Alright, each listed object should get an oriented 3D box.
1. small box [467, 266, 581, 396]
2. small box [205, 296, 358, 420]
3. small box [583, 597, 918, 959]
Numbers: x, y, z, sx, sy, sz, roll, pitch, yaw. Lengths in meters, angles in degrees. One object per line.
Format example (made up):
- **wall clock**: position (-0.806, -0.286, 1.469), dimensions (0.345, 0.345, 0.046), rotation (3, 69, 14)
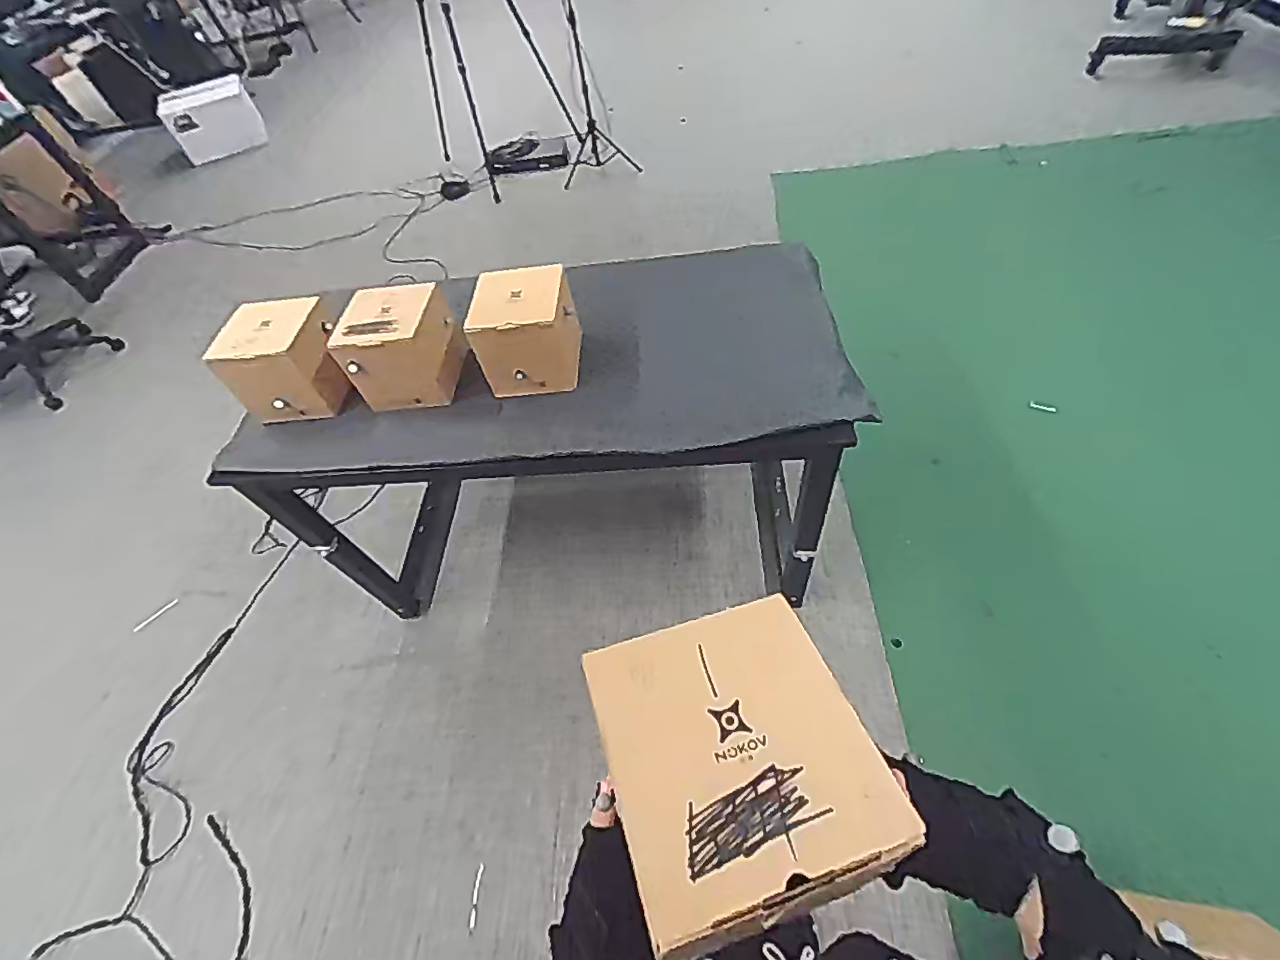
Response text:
- **small box**: position (-0.214, -0.286, 1.051), dimensions (0.168, 0.176, 0.179), rotation (-4, 54, 5)
- **small box**: position (-0.698, -0.242, 1.082), dimensions (0.168, 0.176, 0.179), rotation (-4, 52, 4)
- **small box**: position (0.062, 0.224, 0.407), dimensions (0.168, 0.176, 0.179), rotation (-14, 45, -11)
